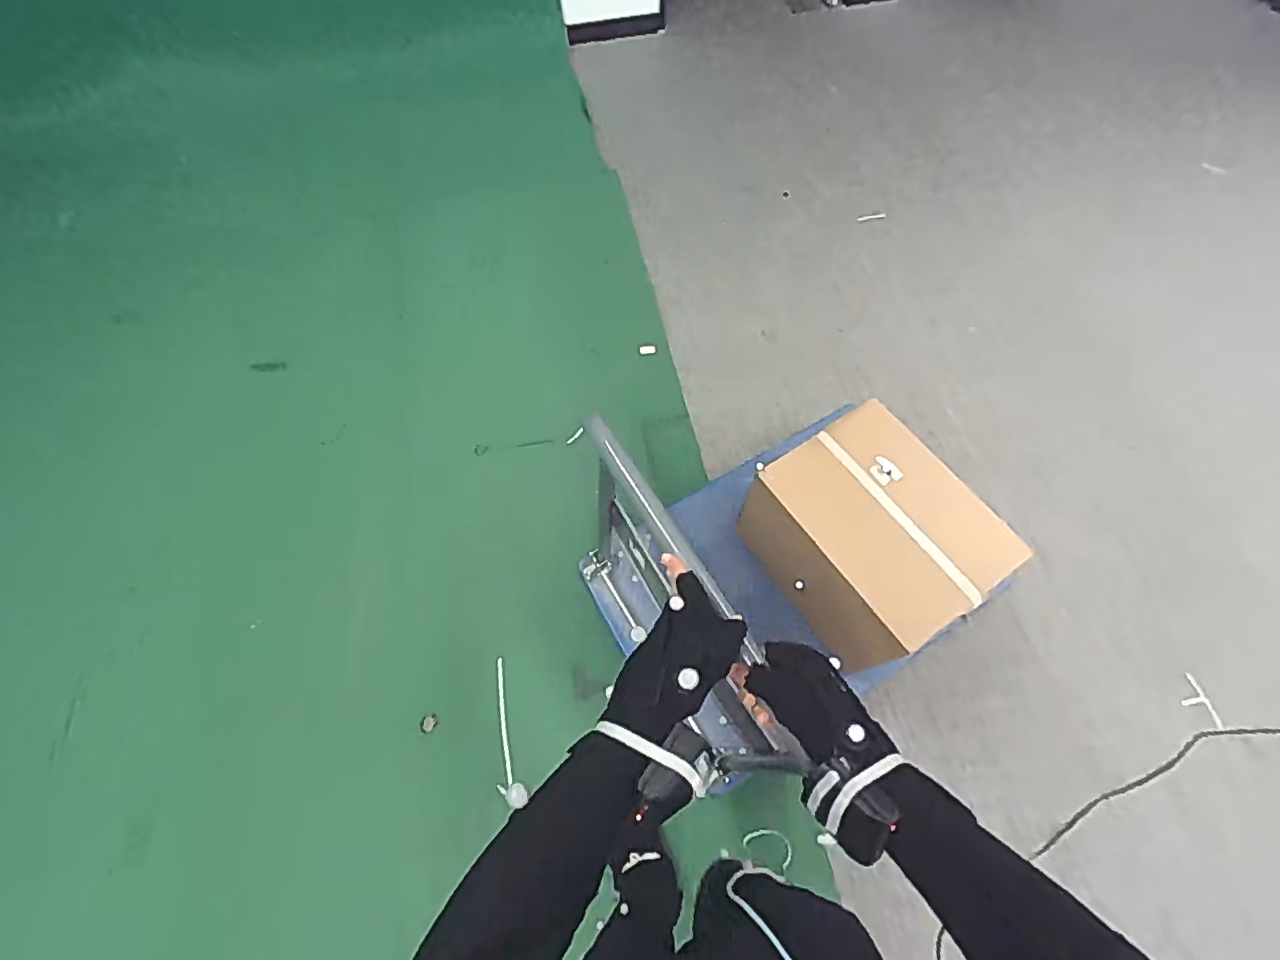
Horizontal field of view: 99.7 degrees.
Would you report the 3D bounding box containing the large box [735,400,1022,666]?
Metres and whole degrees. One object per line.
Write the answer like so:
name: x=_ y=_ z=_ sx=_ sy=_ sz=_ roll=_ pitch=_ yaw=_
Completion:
large box: x=0.459 y=0.121 z=1.143 sx=0.320 sy=0.320 sz=0.408 roll=-31 pitch=67 yaw=-14
